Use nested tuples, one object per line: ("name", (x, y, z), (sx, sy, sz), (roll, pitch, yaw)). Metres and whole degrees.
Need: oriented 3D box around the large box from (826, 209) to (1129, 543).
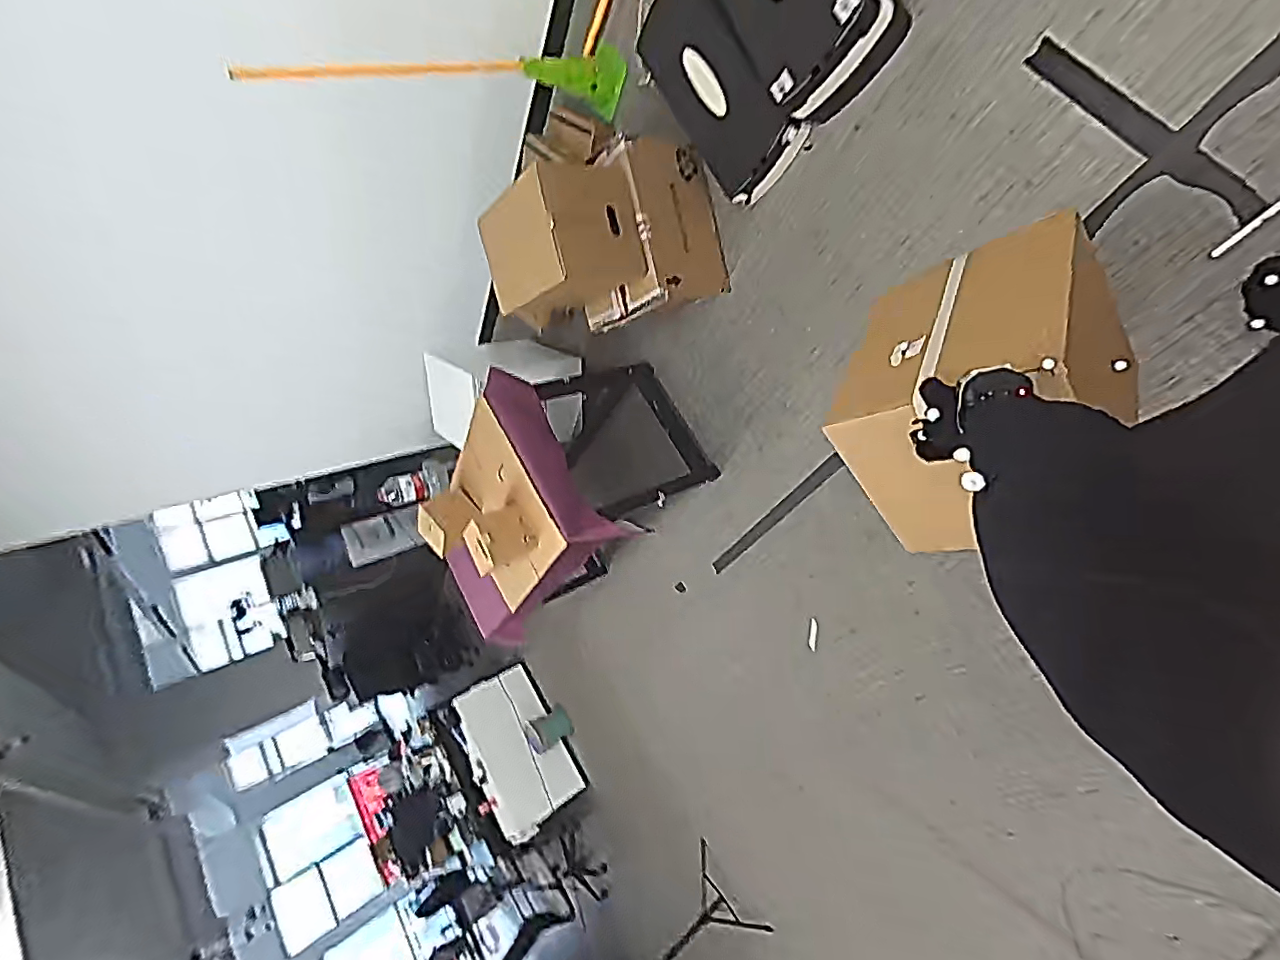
("large box", (0.566, -0.151, 0.892), (0.320, 0.408, 0.320), (47, 146, -22))
